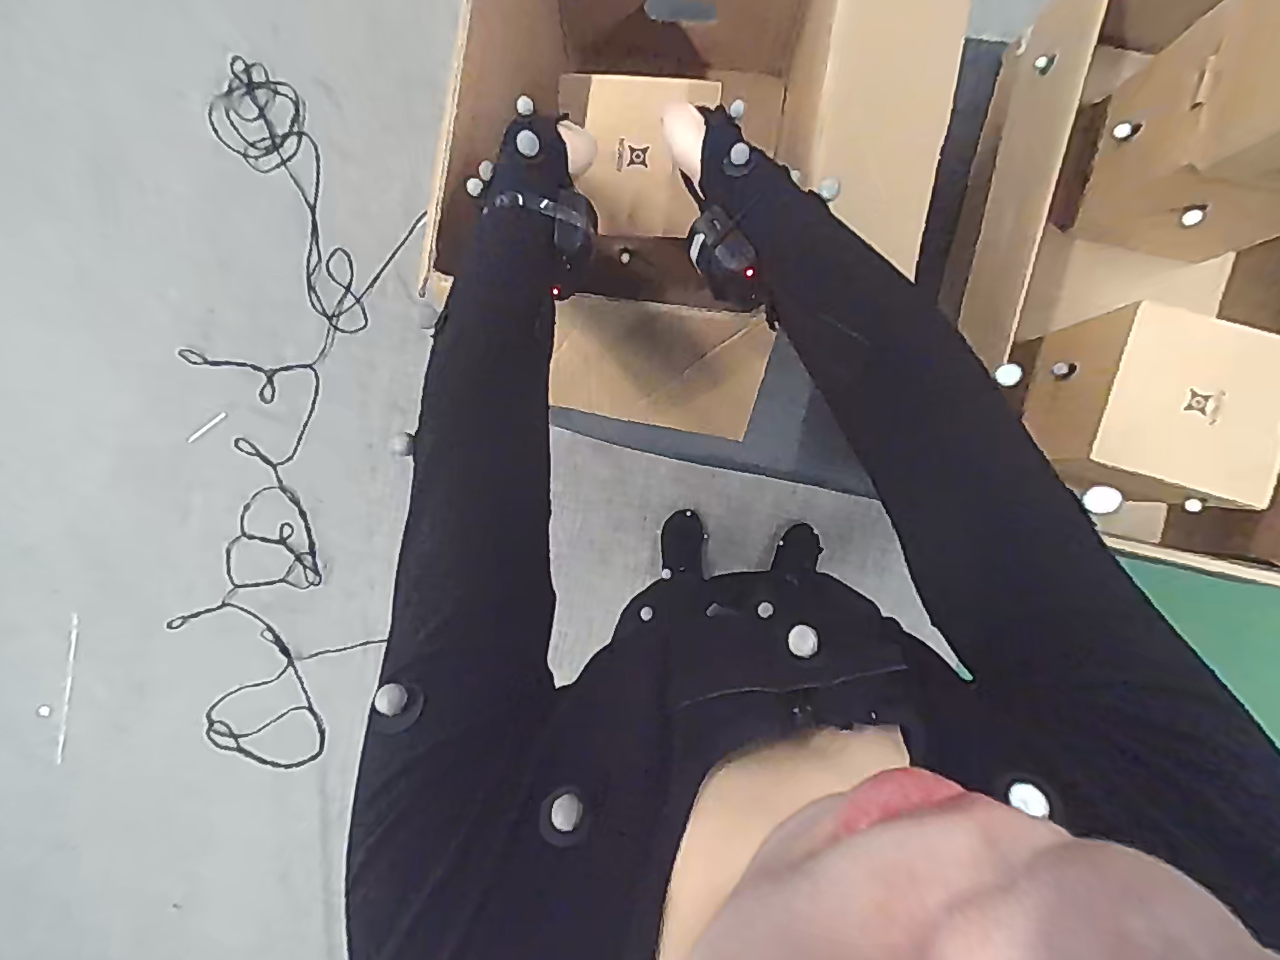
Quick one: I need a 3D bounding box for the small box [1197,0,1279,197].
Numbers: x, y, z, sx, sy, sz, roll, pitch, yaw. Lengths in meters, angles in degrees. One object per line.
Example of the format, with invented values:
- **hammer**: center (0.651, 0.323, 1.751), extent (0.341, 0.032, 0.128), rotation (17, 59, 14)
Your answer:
- **small box**: center (0.615, -0.350, 0.428), extent (0.168, 0.176, 0.179), rotation (13, 95, 2)
